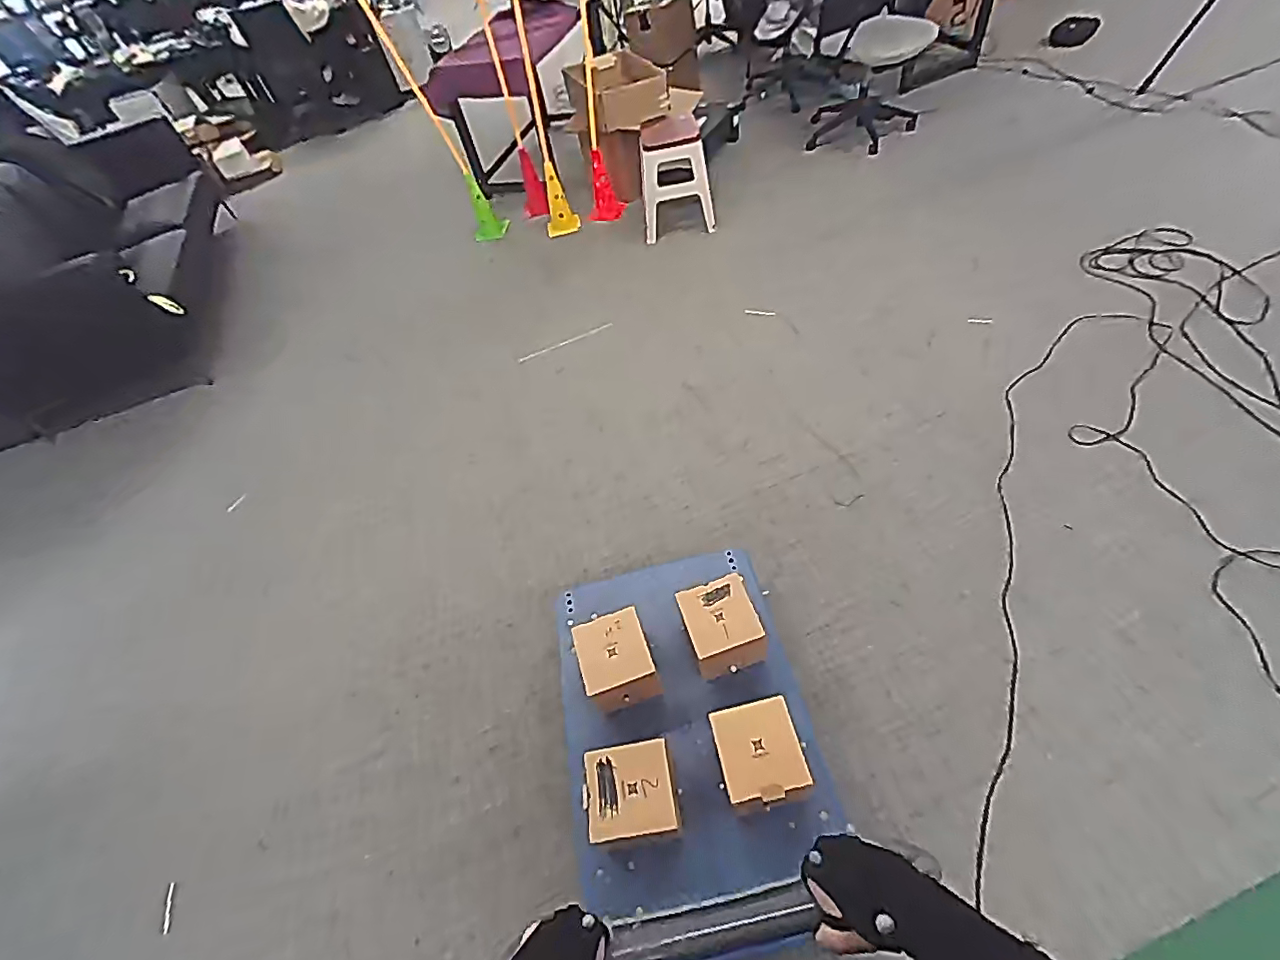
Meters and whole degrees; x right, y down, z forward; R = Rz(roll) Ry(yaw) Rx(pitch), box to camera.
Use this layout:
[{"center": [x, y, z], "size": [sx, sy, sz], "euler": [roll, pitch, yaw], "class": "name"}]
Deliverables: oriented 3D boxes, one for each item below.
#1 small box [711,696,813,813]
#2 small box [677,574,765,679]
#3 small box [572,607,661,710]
[{"center": [0.254, 0.593, 1.165], "size": [0.168, 0.176, 0.179], "euler": [-14, 52, 0], "class": "small box"}, {"center": [0.199, 0.367, 1.347], "size": [0.168, 0.176, 0.179], "euler": [-19, 53, -3], "class": "small box"}, {"center": [-0.055, 0.448, 1.335], "size": [0.168, 0.176, 0.179], "euler": [-19, 52, -5], "class": "small box"}]
